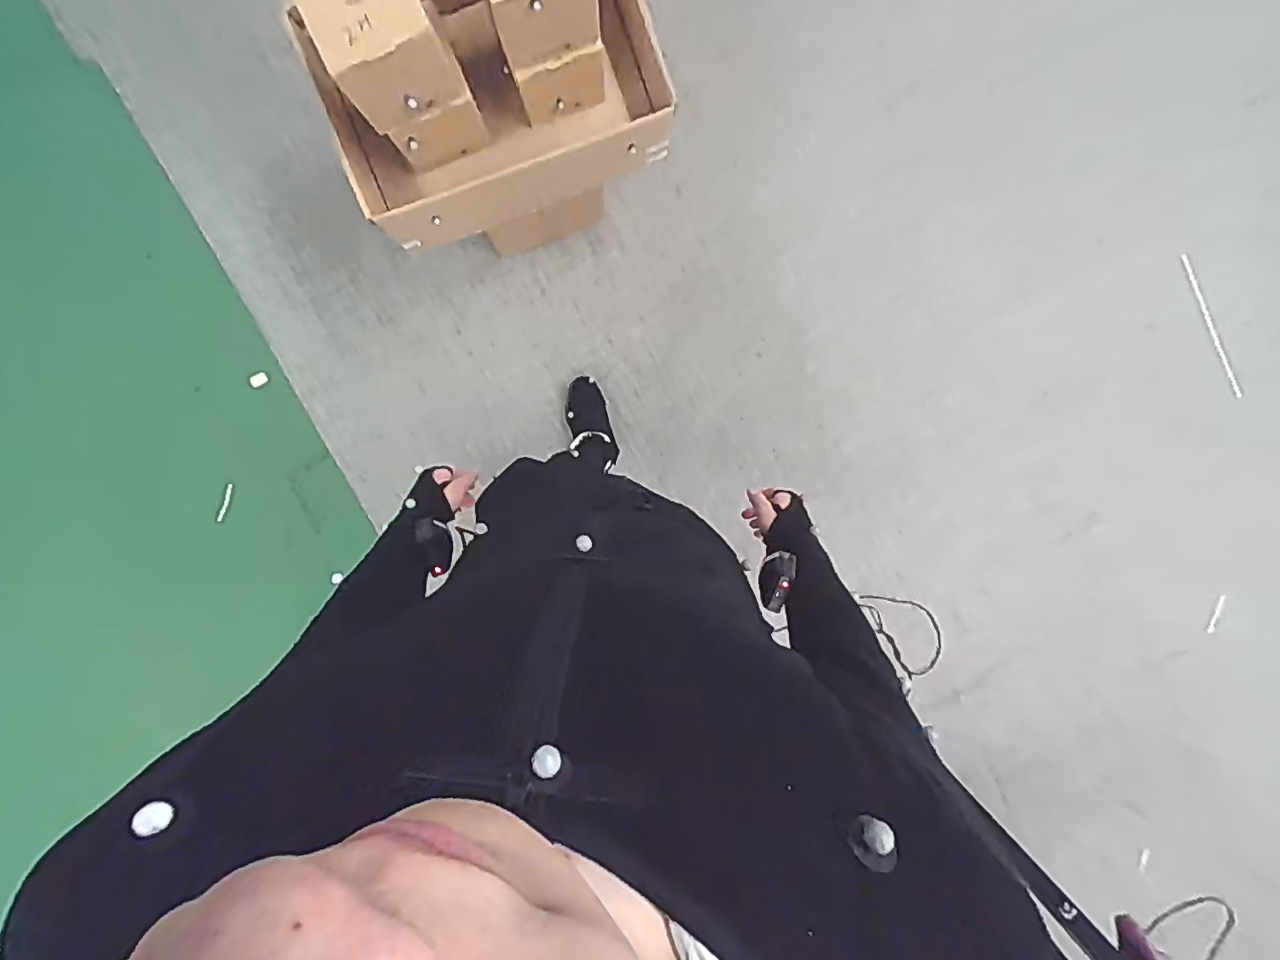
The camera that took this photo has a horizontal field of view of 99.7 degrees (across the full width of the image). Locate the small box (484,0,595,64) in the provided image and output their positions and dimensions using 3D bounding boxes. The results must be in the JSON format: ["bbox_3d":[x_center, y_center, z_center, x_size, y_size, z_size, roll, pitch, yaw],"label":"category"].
[{"bbox_3d":[-0.174,-0.808,0.842,0.168,0.176,0.179,-19,99,-1],"label":"small box"}]

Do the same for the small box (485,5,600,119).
[{"bbox_3d":[-0.181,-0.825,1.006,0.168,0.176,0.179,-21,100,0],"label":"small box"}]

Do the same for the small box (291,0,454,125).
[{"bbox_3d":[-0.417,-0.705,0.839,0.168,0.176,0.179,-24,99,0],"label":"small box"}]
